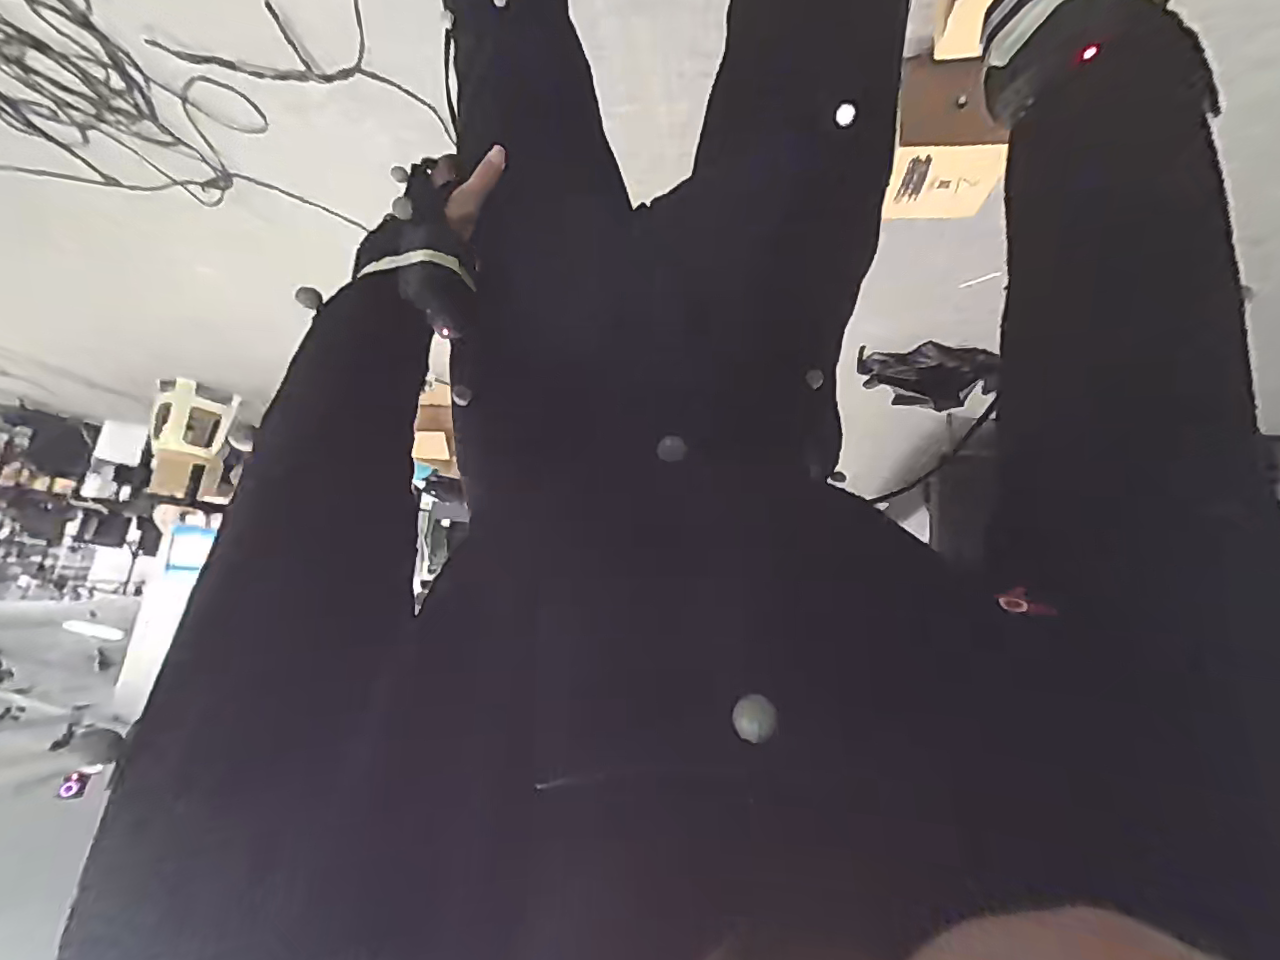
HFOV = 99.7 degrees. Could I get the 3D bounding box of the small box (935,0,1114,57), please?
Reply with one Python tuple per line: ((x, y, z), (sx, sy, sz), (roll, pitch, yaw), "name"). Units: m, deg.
((0.458, -0.638, 0.617), (0.179, 0.176, 0.168), (5, 169, 15), "small box")
